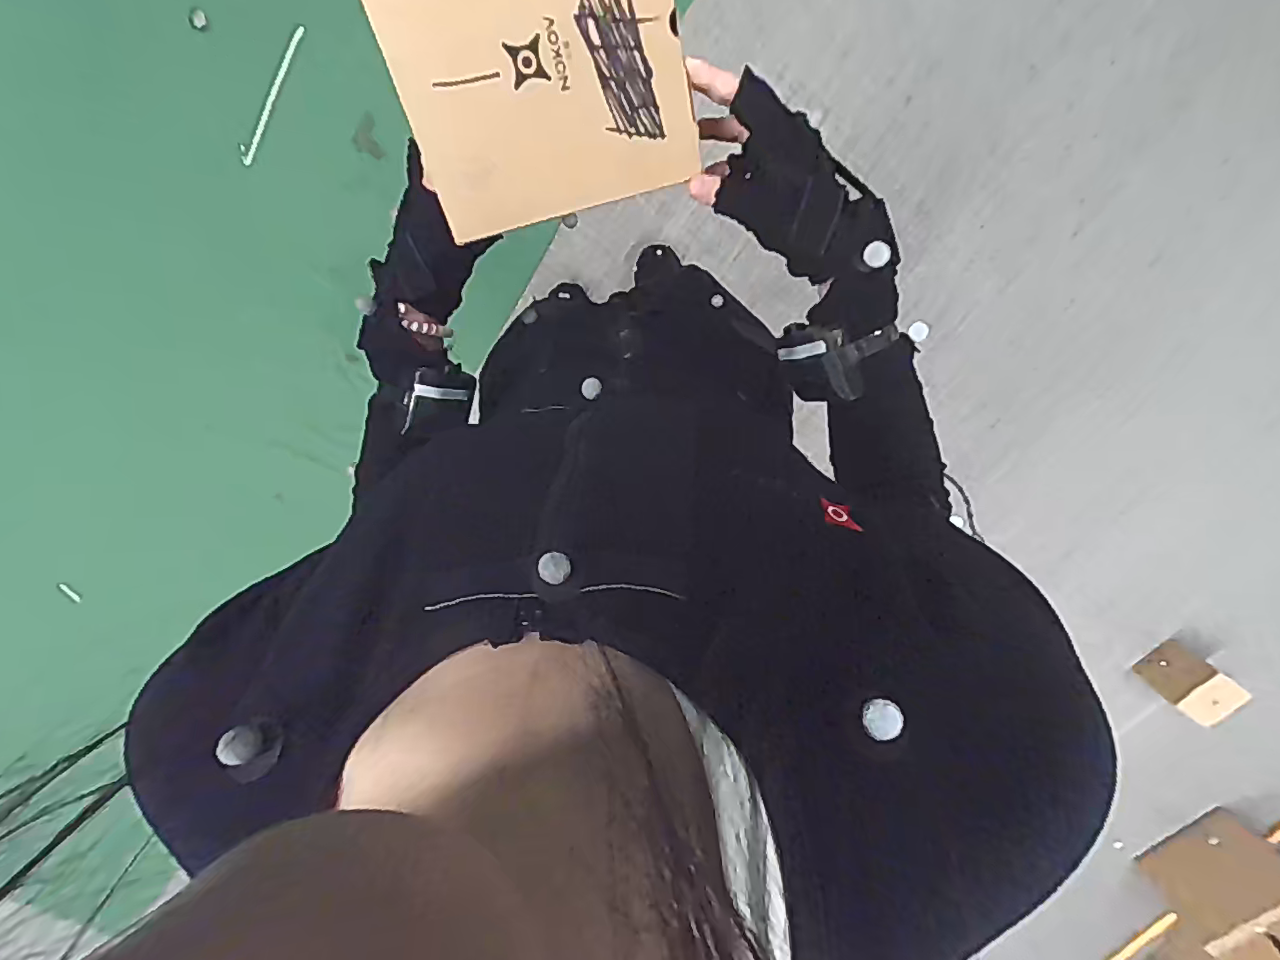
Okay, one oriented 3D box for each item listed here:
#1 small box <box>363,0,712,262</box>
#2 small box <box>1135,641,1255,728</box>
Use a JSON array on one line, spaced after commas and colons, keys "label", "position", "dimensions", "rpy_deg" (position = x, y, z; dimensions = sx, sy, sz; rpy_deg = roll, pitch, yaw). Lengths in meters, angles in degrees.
[{"label": "small box", "position": [-0.064, -0.275, 0.385], "dimensions": [0.179, 0.176, 0.168], "rpy_deg": [-16, 121, 0]}, {"label": "small box", "position": [1.783, 0.654, 1.747], "dimensions": [0.179, 0.176, 0.168], "rpy_deg": [31, 109, -13]}]
